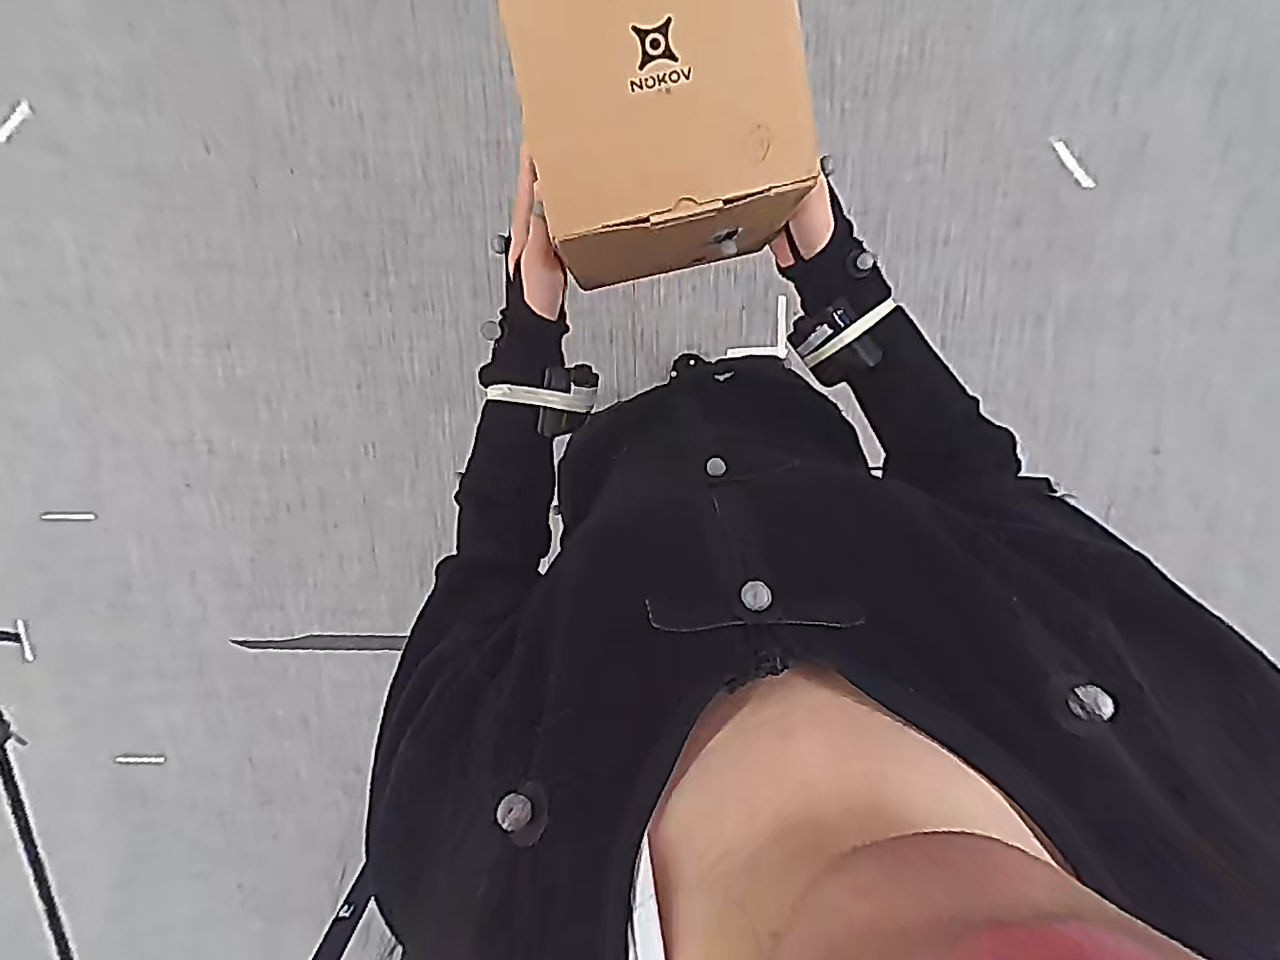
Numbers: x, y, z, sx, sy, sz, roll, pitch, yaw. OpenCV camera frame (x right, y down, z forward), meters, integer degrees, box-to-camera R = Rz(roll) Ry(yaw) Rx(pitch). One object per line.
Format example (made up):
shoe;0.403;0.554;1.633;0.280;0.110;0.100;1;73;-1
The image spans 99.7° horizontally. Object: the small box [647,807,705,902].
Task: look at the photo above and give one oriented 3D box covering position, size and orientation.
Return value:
small box;0.108;1.150;1.664;0.168;0.176;0.179;2;104;0
